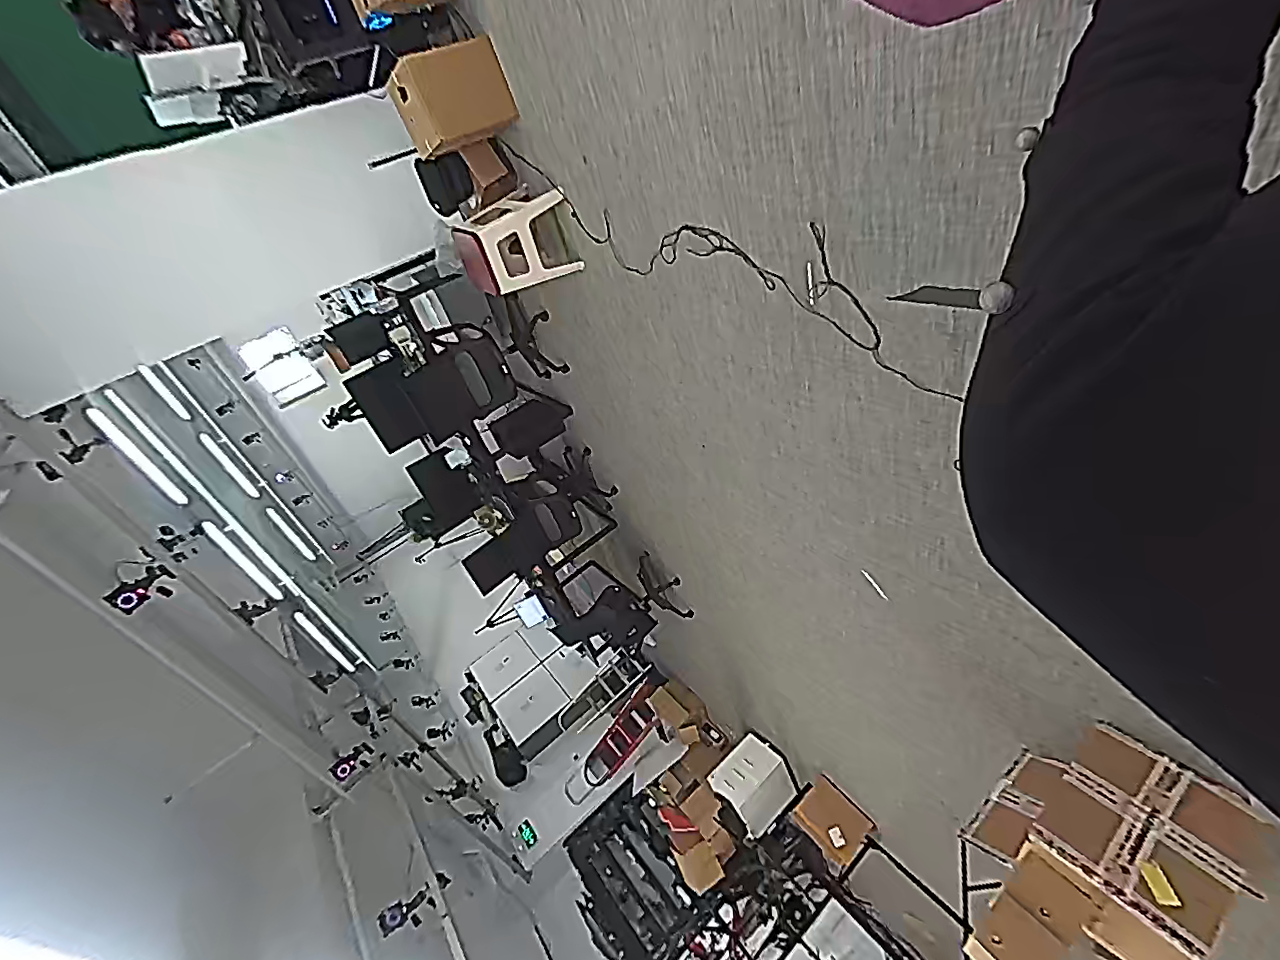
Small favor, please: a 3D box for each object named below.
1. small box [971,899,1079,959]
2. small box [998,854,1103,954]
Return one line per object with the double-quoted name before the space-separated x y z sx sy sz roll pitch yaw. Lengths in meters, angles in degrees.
"small box" 1.073 1.324 1.514 0.179 0.176 0.168 35 150 46
"small box" 1.206 1.258 1.591 0.179 0.176 0.168 37 151 43
